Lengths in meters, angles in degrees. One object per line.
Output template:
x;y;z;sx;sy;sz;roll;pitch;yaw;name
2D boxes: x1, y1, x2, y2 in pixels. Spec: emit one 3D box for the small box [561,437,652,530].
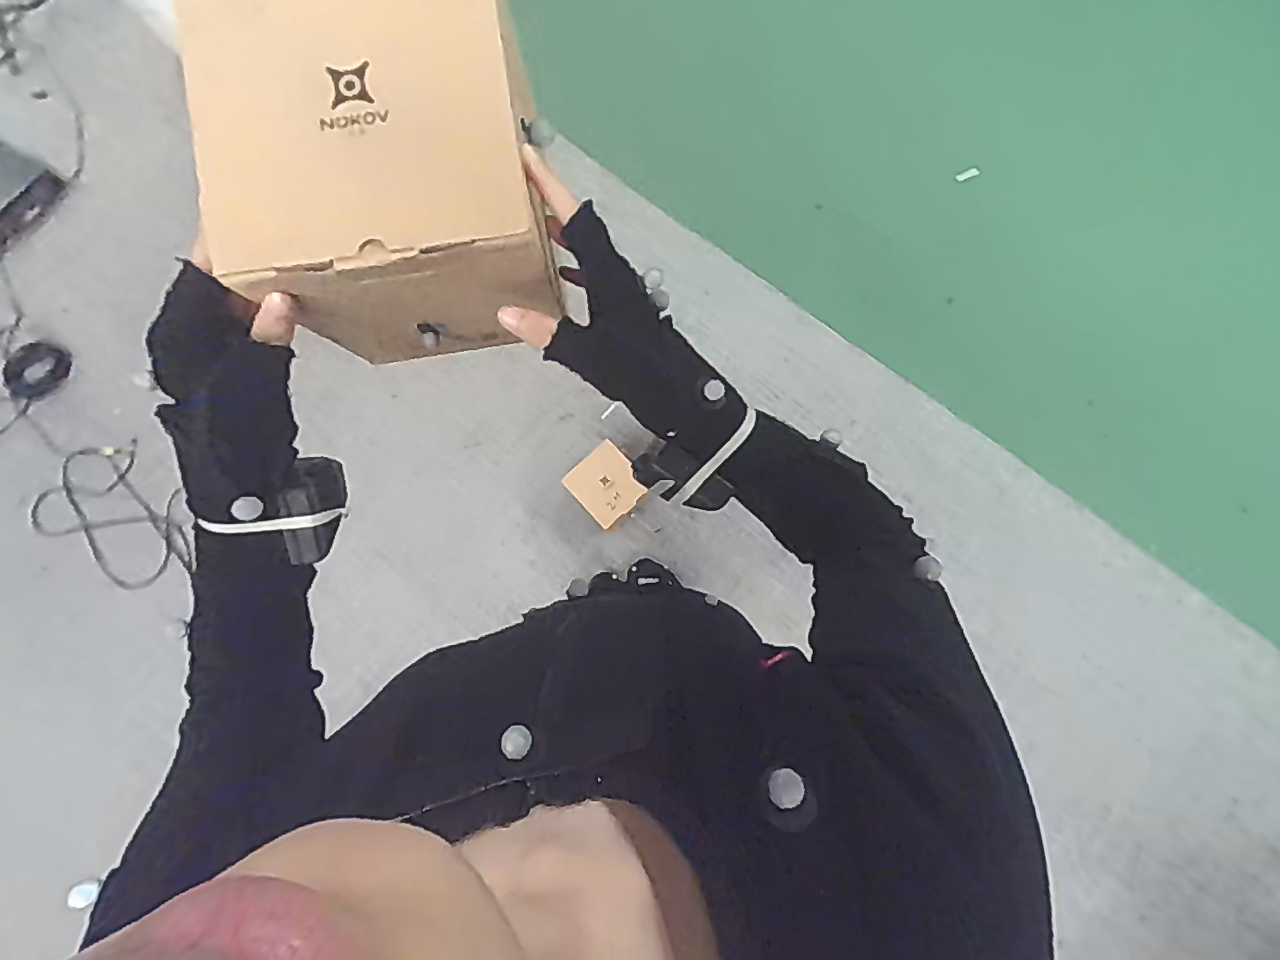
-0.086;0.018;1.440;0.168;0.176;0.179;-43;84;-6;small box
